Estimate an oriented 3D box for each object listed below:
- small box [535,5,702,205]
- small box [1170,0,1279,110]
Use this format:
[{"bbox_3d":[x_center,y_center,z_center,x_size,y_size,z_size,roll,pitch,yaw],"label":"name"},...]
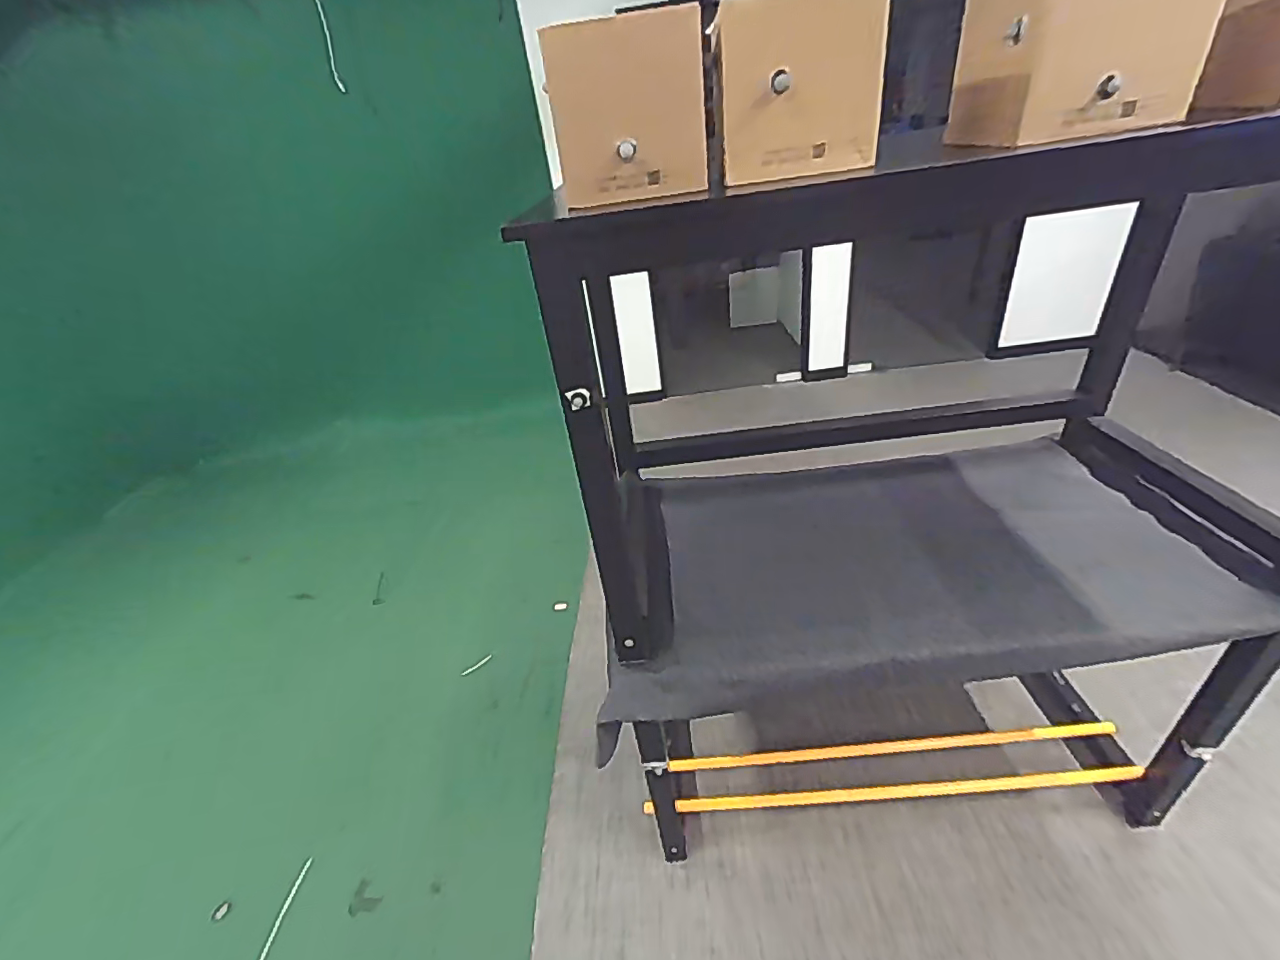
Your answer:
[{"bbox_3d":[-0.019,-0.437,0.652,0.168,0.176,0.179,-7,33,2],"label":"small box"},{"bbox_3d":[0.738,-0.509,0.575,0.168,0.176,0.179,-2,32,11],"label":"small box"}]
